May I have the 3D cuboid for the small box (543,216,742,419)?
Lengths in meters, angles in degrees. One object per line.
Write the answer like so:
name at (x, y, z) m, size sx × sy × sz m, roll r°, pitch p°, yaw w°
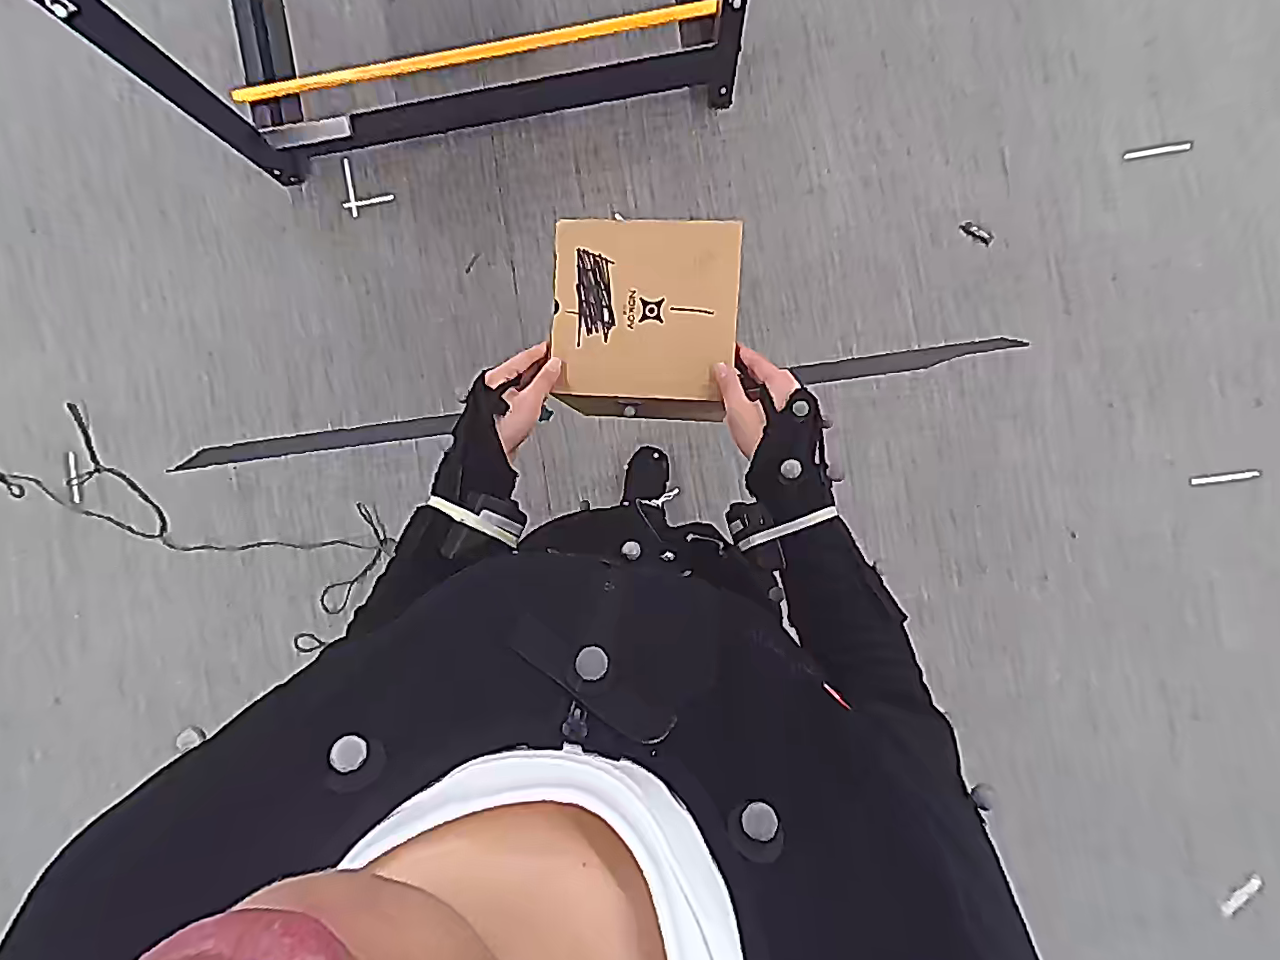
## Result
small box at (0.010, -0.158, 0.574) m, size 0.179 × 0.176 × 0.168 m, roll 4°, pitch 90°, yaw 6°
